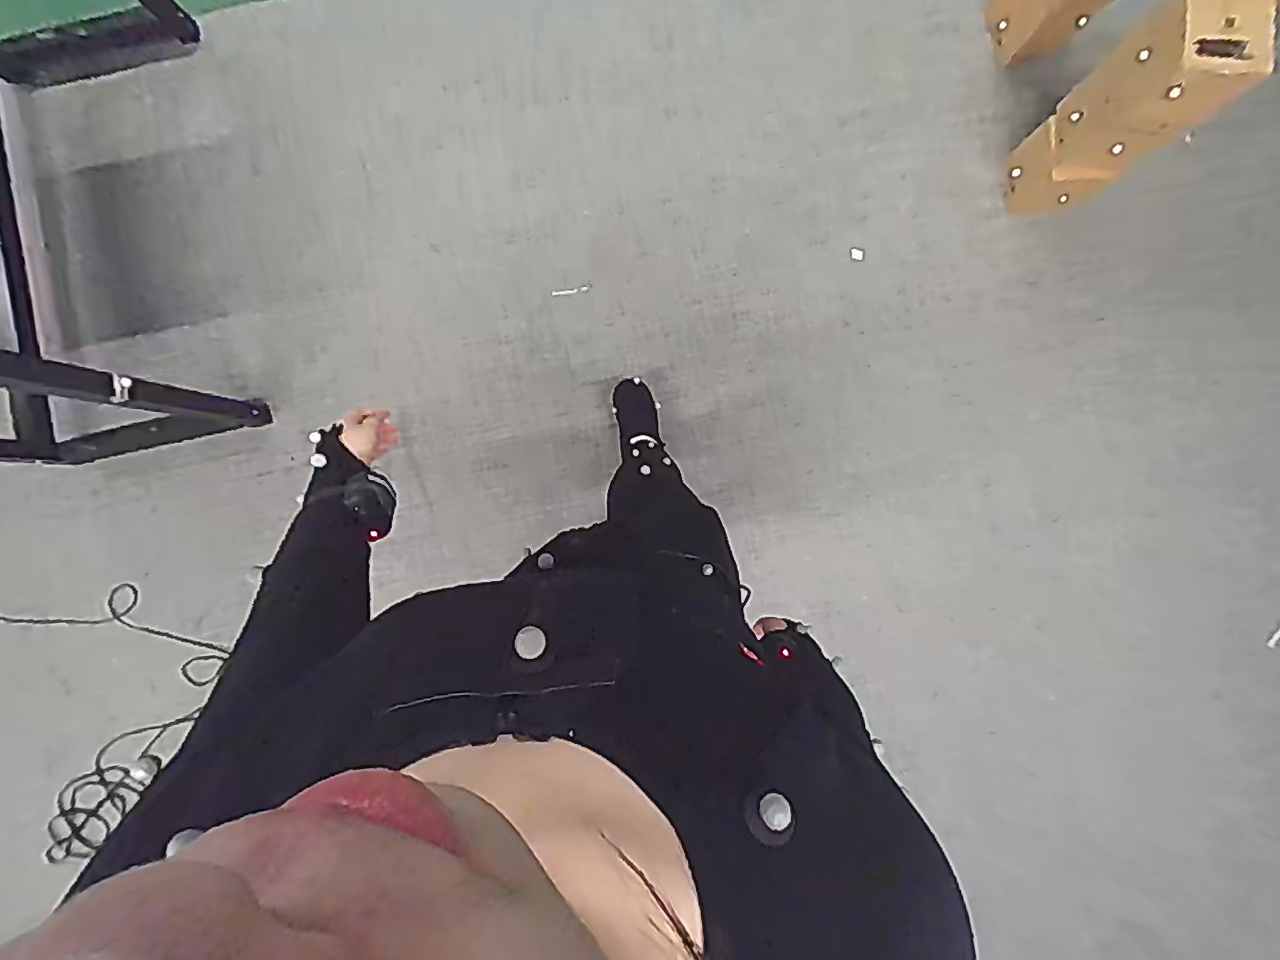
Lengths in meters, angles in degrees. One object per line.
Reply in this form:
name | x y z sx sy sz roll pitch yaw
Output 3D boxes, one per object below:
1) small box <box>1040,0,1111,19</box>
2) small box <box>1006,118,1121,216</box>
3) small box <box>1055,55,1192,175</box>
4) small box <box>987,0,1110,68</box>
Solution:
small box | 1.069 -1.236 1.258 0.179 0.176 0.168 -15 88 0
small box | 1.098 -0.811 1.412 0.179 0.176 0.168 -1 89 1
small box | 1.105 -0.834 1.249 0.179 0.176 0.168 3 89 1
small box | 1.064 -1.237 1.420 0.179 0.176 0.168 -15 89 0
